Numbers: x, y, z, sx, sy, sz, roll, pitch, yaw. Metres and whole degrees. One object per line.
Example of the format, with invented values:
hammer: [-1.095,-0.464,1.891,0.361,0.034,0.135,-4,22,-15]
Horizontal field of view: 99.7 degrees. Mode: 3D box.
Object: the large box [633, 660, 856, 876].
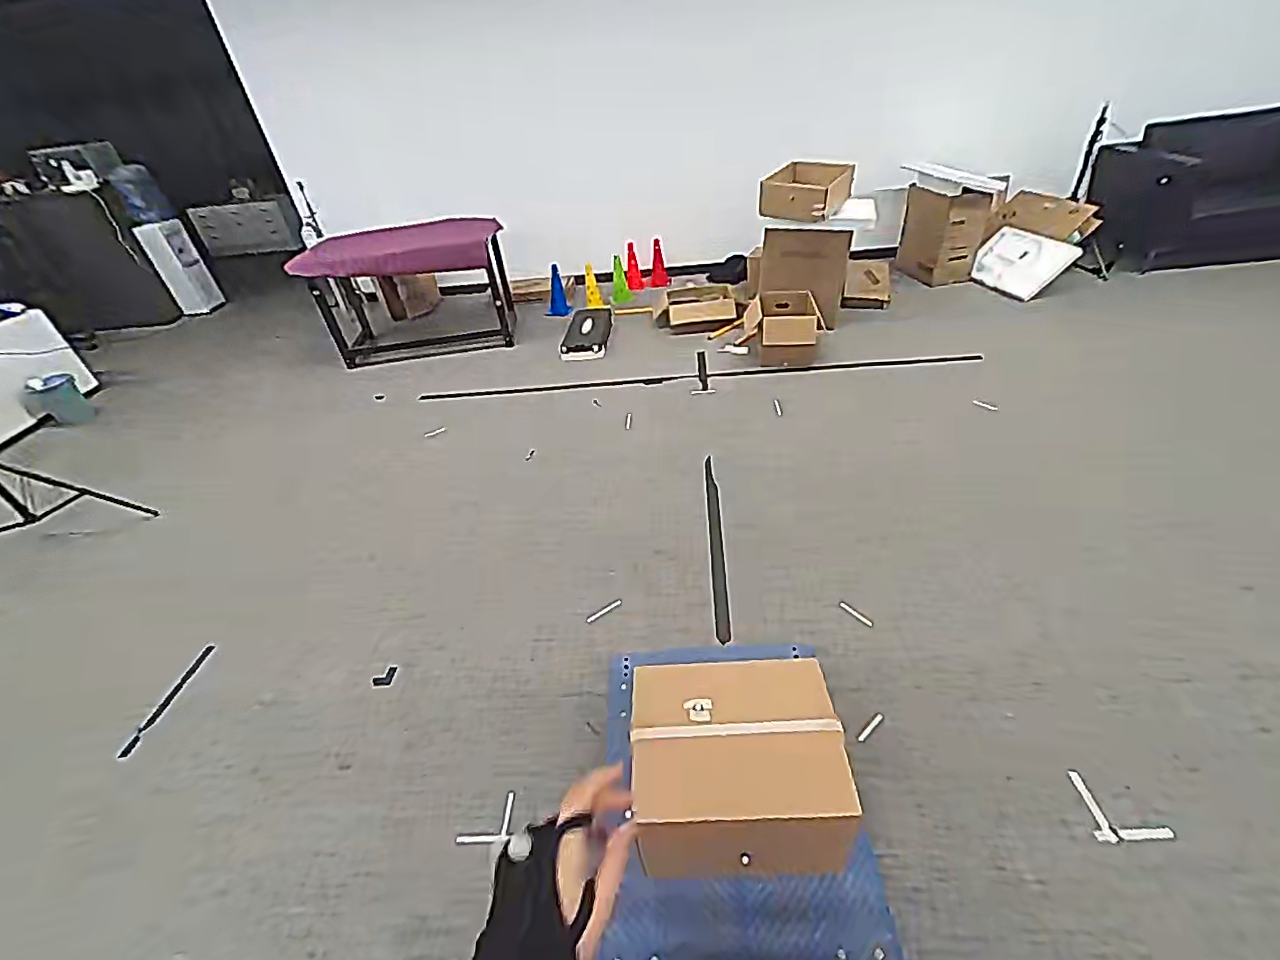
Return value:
large box: [0.202,0.624,1.172,0.408,0.320,0.320,-5,37,4]
